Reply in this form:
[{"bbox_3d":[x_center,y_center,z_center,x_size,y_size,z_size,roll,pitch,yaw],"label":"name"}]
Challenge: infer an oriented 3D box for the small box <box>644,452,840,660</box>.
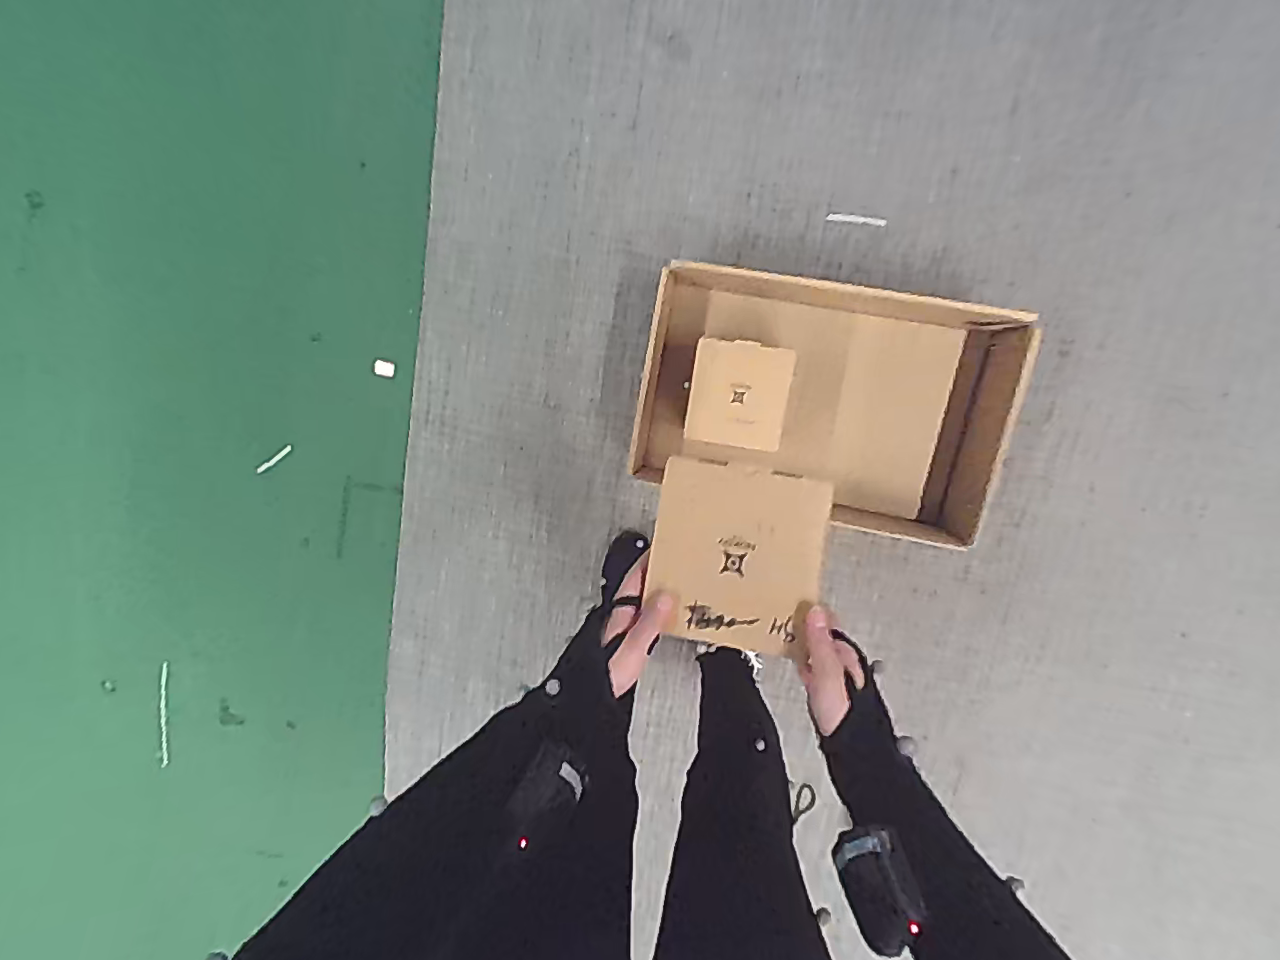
[{"bbox_3d":[0.106,0.081,0.601,0.168,0.176,0.179,10,83,7],"label":"small box"}]
